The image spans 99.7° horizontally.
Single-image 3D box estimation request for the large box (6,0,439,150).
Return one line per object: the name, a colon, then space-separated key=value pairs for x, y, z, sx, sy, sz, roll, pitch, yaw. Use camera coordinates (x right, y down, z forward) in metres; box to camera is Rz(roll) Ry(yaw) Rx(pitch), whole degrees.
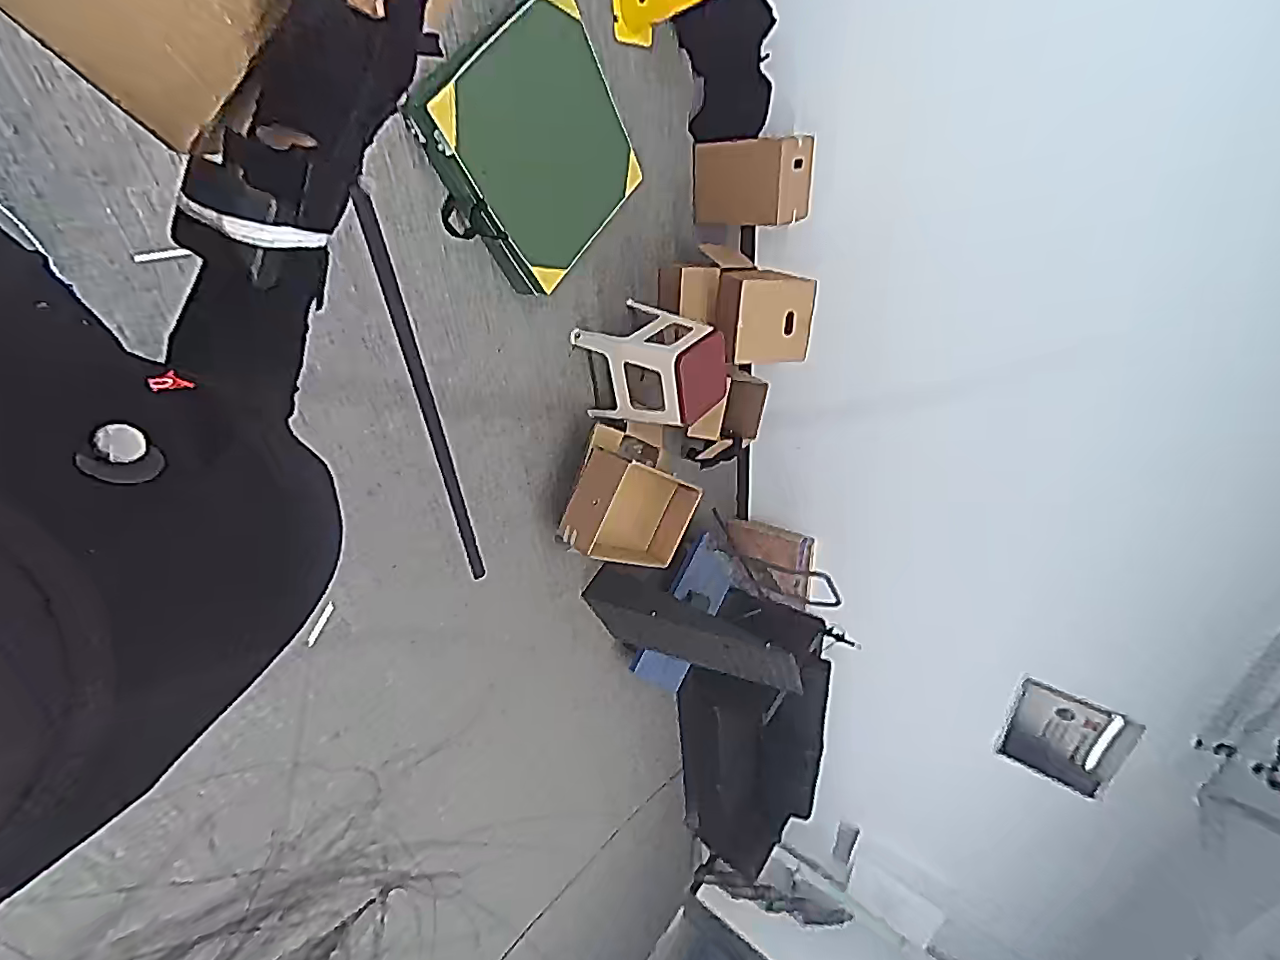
large box: x=-0.345 y=-0.501 z=0.351 sx=0.320 sy=0.320 sz=0.408 roll=-41 pitch=122 yaw=12
